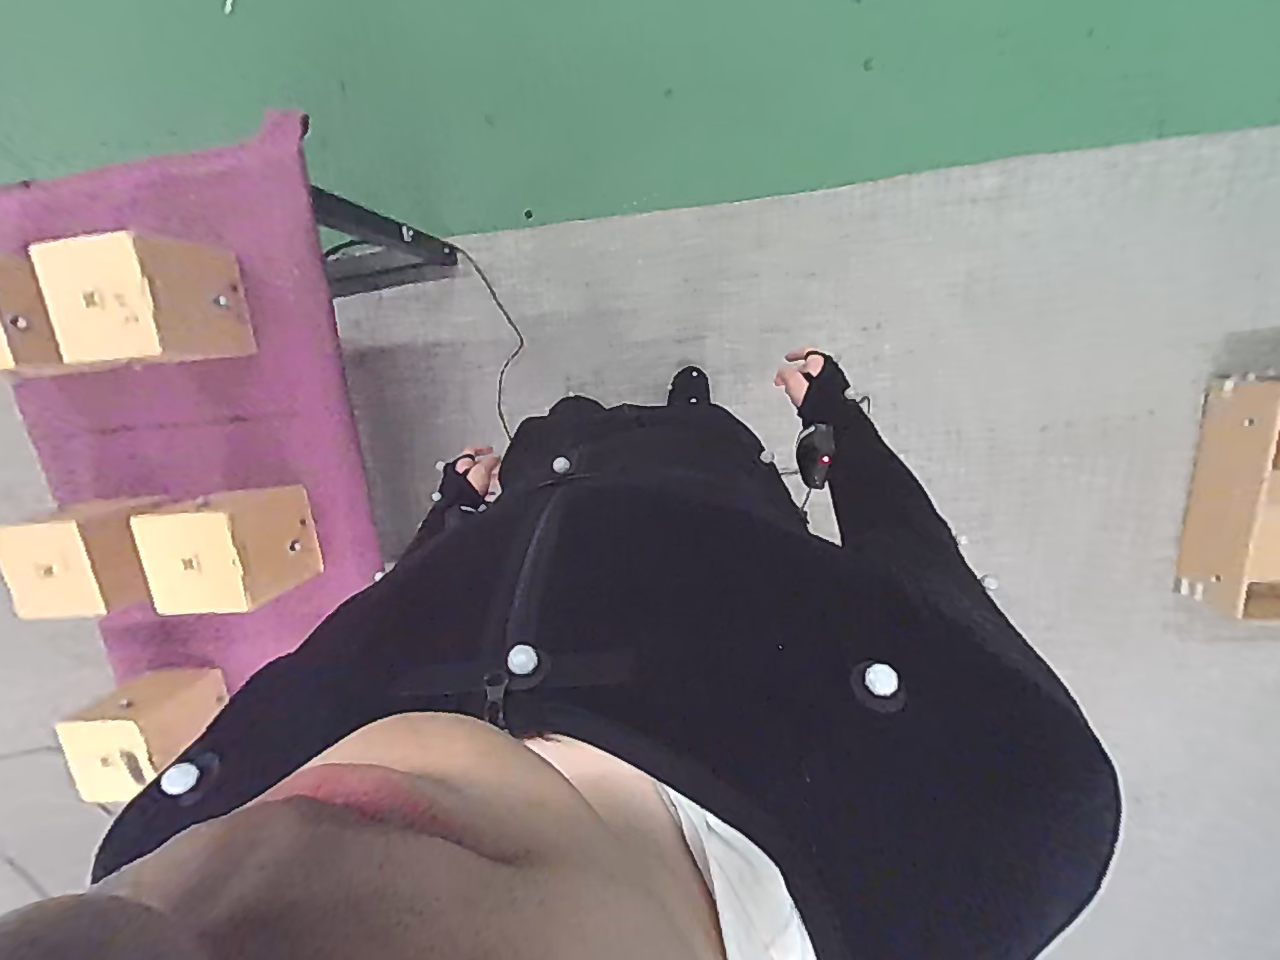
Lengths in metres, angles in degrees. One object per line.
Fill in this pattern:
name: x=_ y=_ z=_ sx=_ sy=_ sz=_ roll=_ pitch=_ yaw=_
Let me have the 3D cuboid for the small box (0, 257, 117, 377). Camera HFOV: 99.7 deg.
small box: x=-1.020 y=-0.256 z=0.880 sx=0.179 sy=0.176 sz=0.168 roll=-5 pitch=102 yaw=8

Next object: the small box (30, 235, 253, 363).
small box: x=-0.760 y=-0.271 z=0.843 sx=0.179 sy=0.176 sz=0.168 roll=-2 pitch=103 yaw=9

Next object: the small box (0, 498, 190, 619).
small box: x=-0.966 y=0.134 z=0.962 sx=0.179 sy=0.176 sz=0.168 roll=-4 pitch=102 yaw=7

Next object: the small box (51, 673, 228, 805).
small box: x=-0.933 y=0.485 z=1.031 sx=0.179 sy=0.176 sz=0.168 roll=-5 pitch=101 yaw=9
